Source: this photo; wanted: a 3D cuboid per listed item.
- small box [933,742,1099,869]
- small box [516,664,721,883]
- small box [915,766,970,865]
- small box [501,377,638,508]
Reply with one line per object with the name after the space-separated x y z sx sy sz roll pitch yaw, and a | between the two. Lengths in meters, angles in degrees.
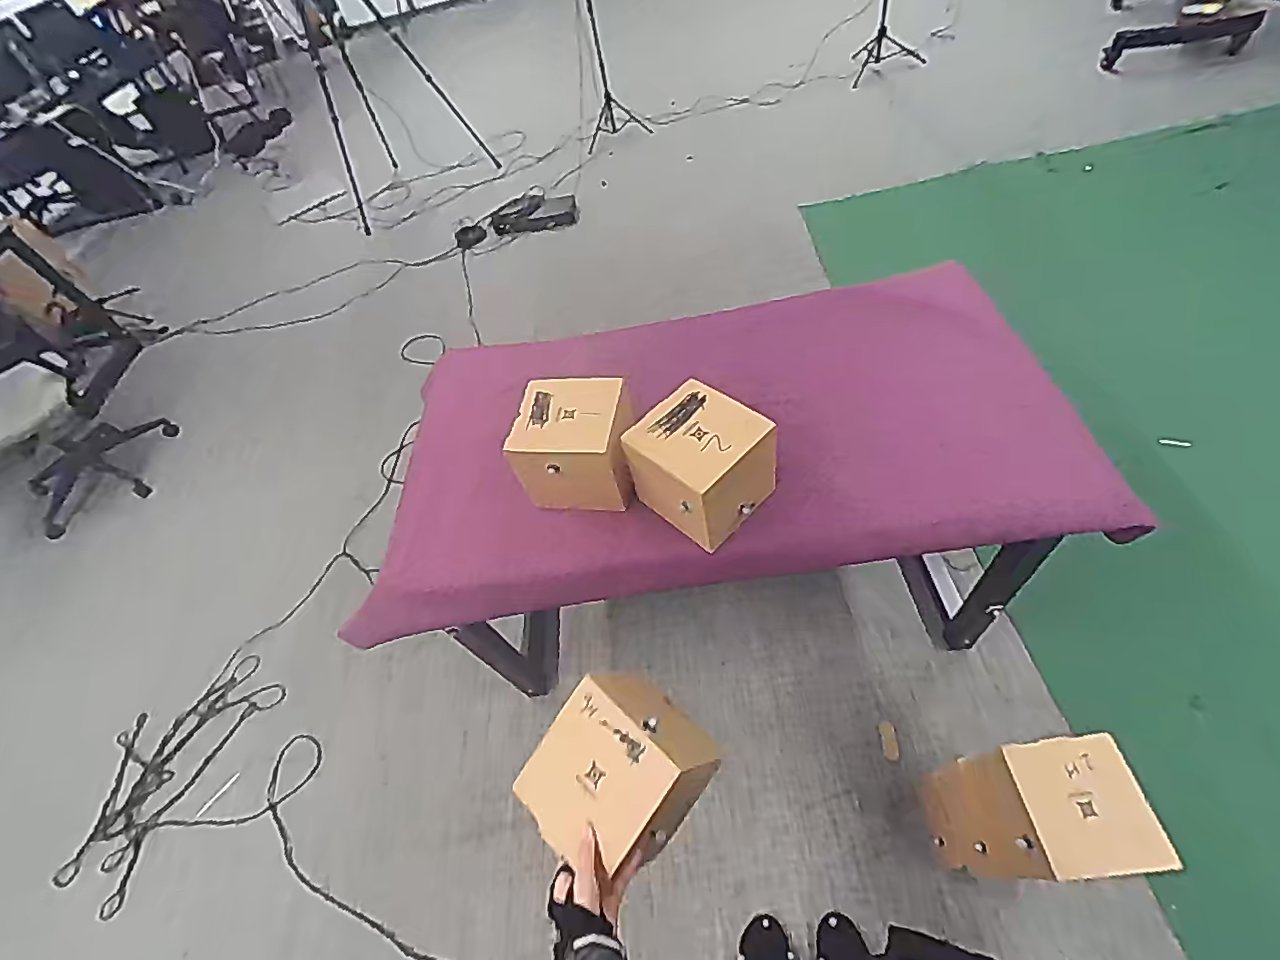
0.672 0.603 0.997 0.168 0.176 0.179 -10 54 5 | small box
-0.020 0.364 0.708 0.168 0.176 0.179 36 92 32 | small box
0.695 0.696 1.127 0.179 0.176 0.168 -8 53 6 | small box
-0.113 -0.062 0.953 0.179 0.176 0.168 1 55 13 | small box
